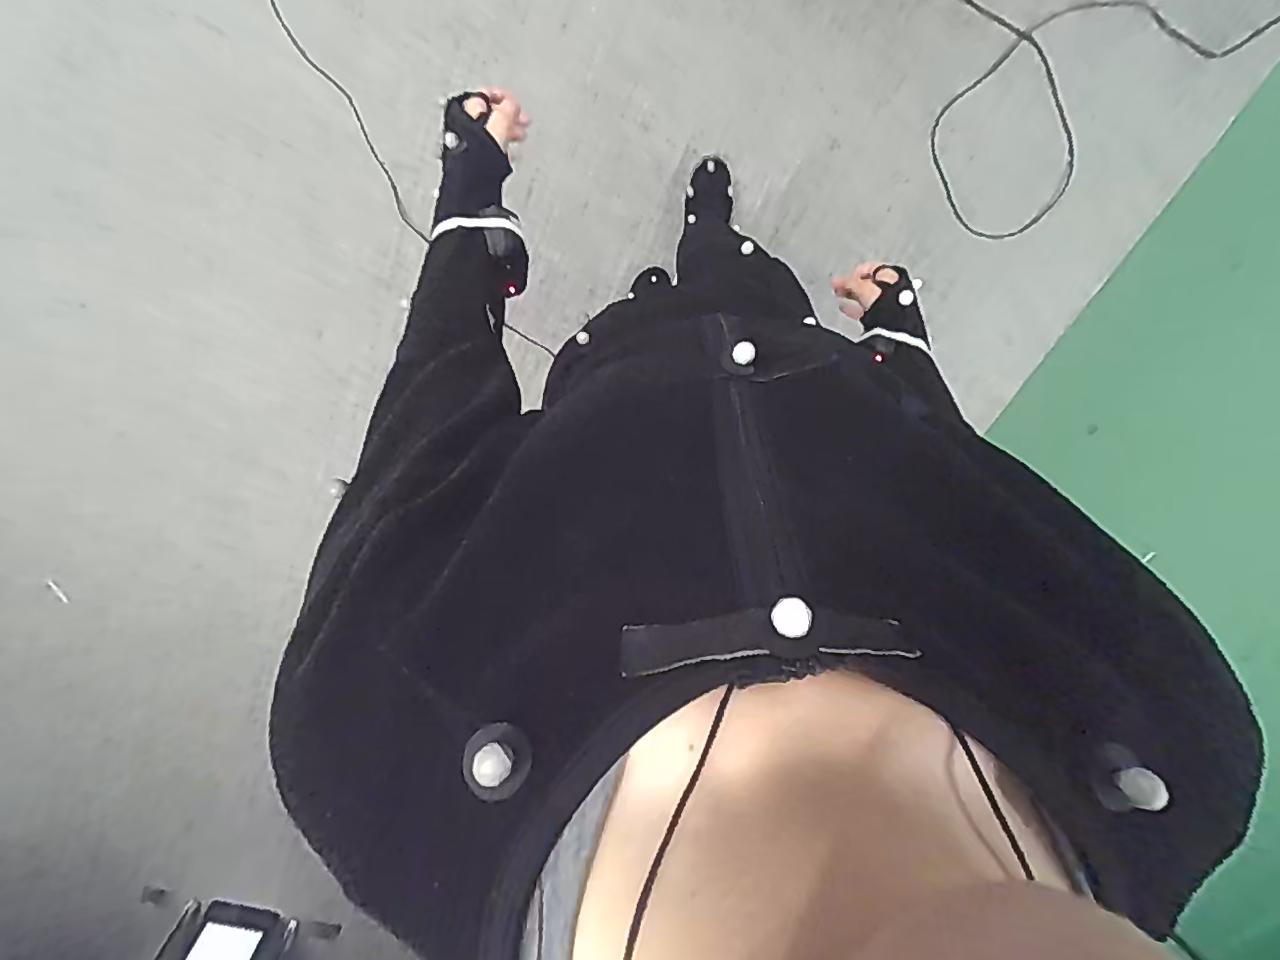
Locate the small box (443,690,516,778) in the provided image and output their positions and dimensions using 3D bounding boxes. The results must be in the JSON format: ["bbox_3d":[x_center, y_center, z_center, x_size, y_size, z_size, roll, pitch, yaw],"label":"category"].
[{"bbox_3d":[-0.527,0.840,1.795,0.168,0.176,0.179,25,110,-14],"label":"small box"}]

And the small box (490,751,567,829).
[{"bbox_3d":[-0.342,0.979,1.682,0.179,0.176,0.168,22,111,-11],"label":"small box"}]

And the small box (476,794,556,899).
[{"bbox_3d":[-0.343,1.028,1.526,0.168,0.176,0.179,19,111,-9],"label":"small box"}]
